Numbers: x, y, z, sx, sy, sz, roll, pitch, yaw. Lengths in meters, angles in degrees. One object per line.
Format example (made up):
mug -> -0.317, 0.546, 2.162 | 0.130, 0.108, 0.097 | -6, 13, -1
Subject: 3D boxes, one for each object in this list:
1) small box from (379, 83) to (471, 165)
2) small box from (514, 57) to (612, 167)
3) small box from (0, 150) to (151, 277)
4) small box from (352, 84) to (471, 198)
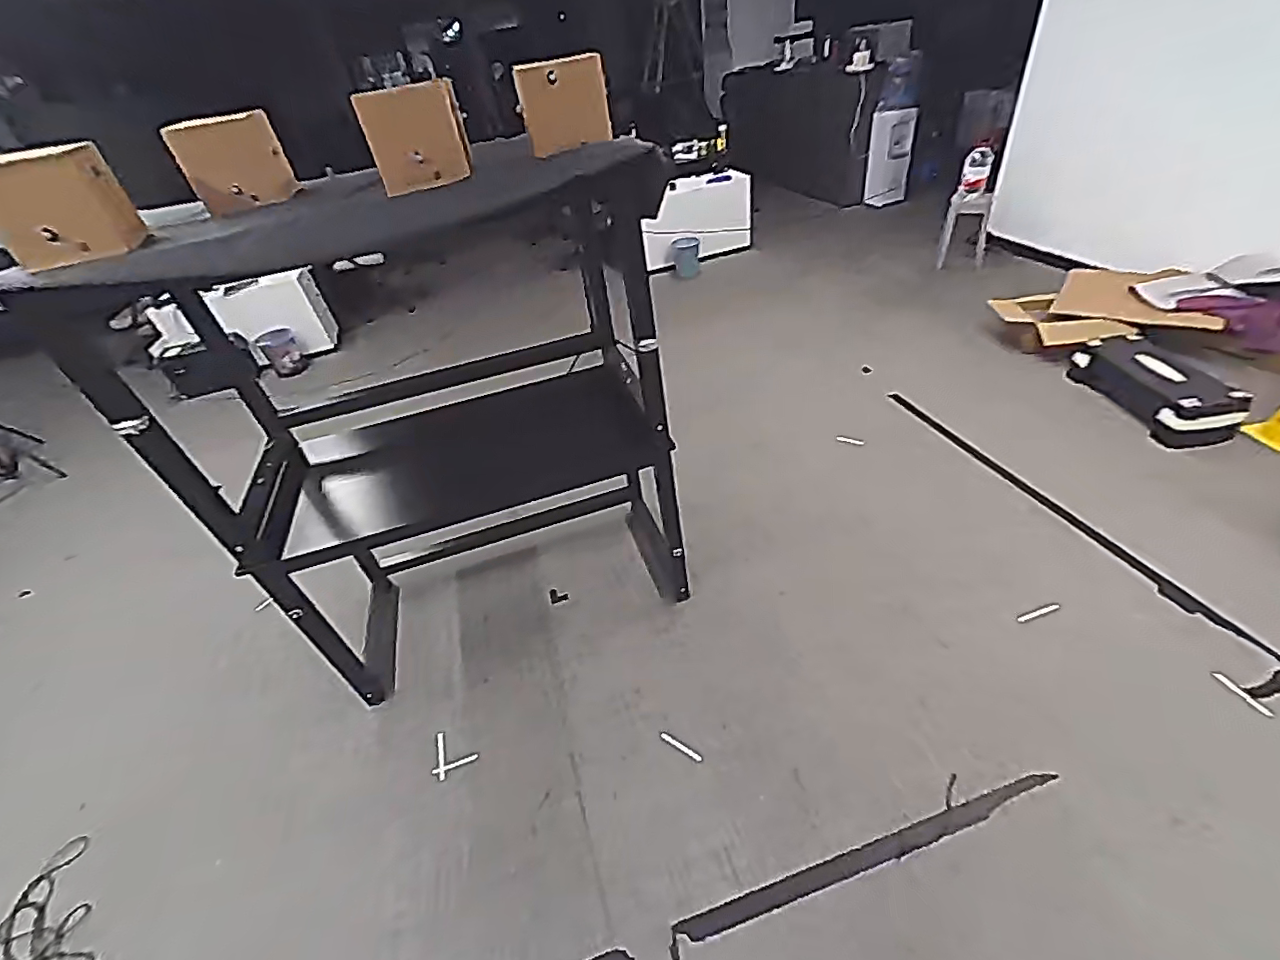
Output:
small box -> -0.514, -0.837, 1.300 | 0.179, 0.176, 0.168 | -15, 39, -7
small box -> -0.166, -0.785, 1.158 | 0.168, 0.176, 0.179 | -15, 39, -5
small box -> -1.061, -0.493, 0.998 | 0.168, 0.176, 0.179 | -22, 42, -16
small box -> -0.455, -0.691, 1.105 | 0.168, 0.176, 0.179 | -16, 38, -6
